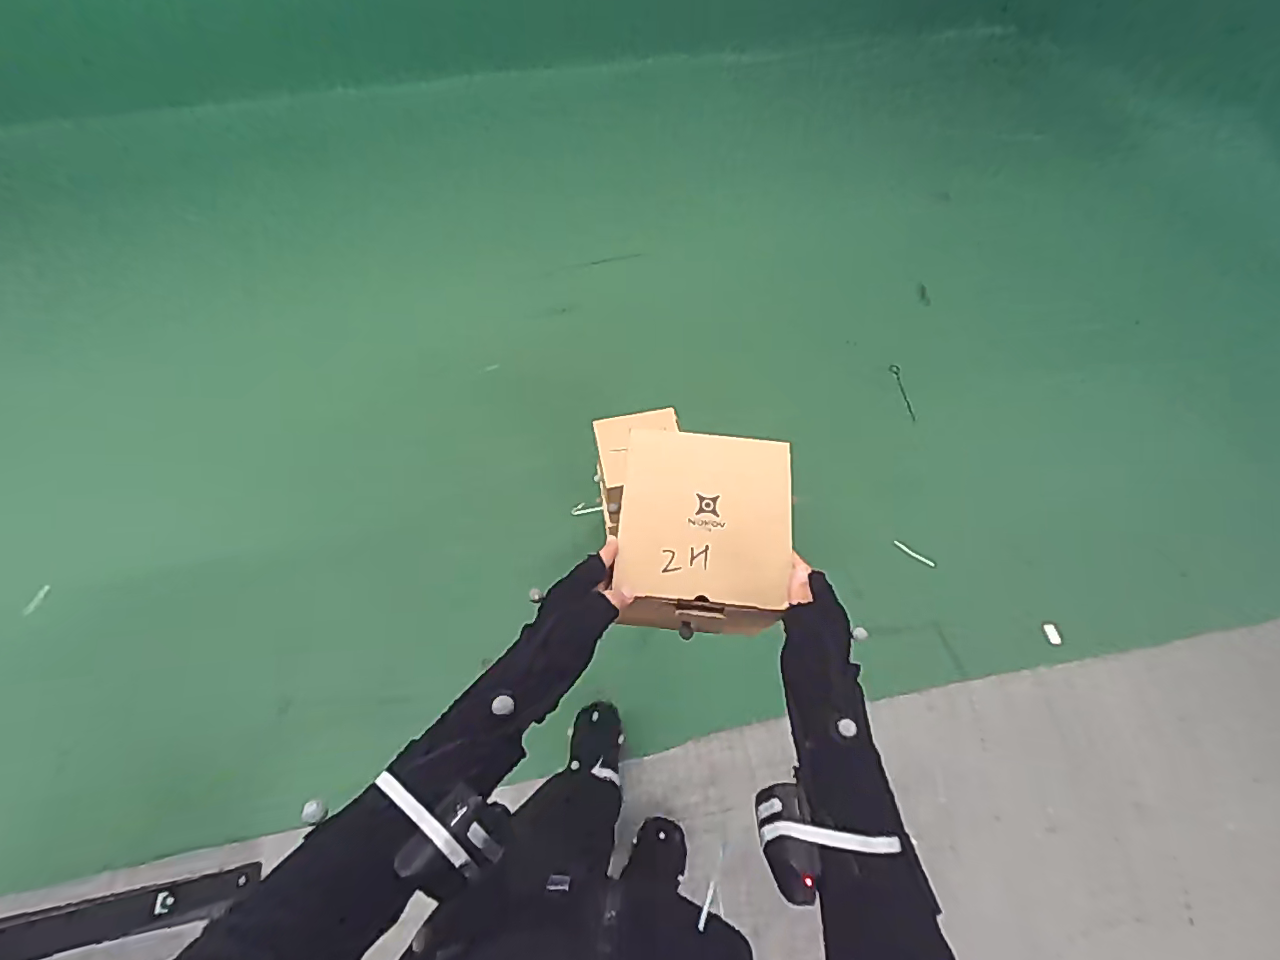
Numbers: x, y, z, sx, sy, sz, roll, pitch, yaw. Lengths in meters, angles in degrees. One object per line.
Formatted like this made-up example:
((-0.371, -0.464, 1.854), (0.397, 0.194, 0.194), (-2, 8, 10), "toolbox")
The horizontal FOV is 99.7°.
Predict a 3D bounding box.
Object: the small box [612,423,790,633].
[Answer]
((0.061, 0.060, 0.594), (0.168, 0.176, 0.179), (5, 67, 1), "small box")

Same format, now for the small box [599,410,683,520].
((0.009, -0.029, 1.167), (0.179, 0.176, 0.168), (-7, 60, -4), "small box")
